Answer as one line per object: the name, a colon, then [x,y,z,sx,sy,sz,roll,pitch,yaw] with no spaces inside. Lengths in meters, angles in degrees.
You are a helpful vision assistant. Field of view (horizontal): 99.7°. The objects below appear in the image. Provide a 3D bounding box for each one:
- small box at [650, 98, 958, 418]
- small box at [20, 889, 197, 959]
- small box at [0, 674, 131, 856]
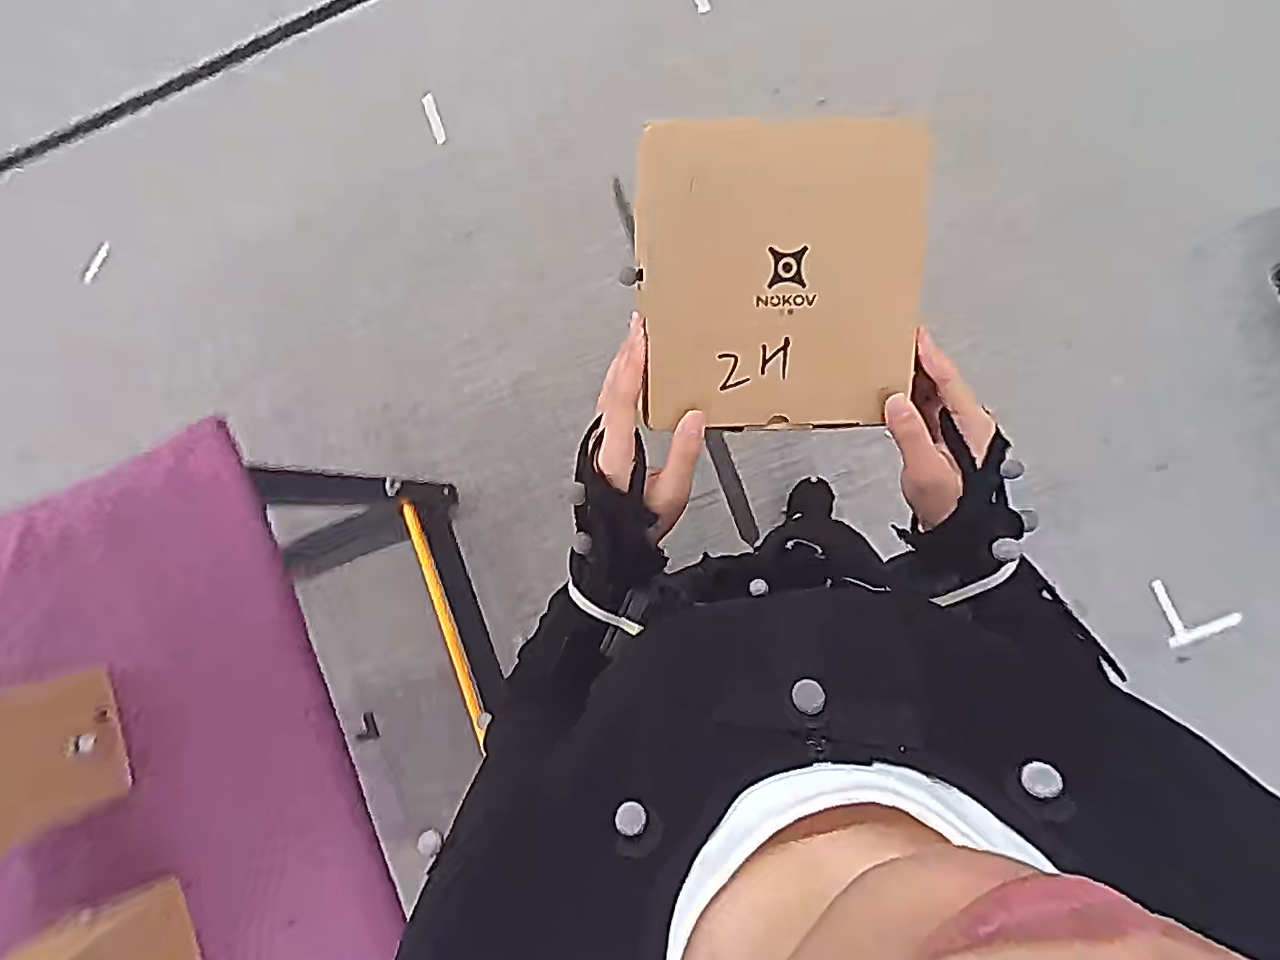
small box: [0.093,-0.139,0.392,0.168,0.176,0.179,0,102,-1]
small box: [-0.637,0.621,0.609,0.168,0.176,0.179,-22,84,4]
small box: [-0.770,0.350,0.635,0.179,0.176,0.168,-18,85,3]
